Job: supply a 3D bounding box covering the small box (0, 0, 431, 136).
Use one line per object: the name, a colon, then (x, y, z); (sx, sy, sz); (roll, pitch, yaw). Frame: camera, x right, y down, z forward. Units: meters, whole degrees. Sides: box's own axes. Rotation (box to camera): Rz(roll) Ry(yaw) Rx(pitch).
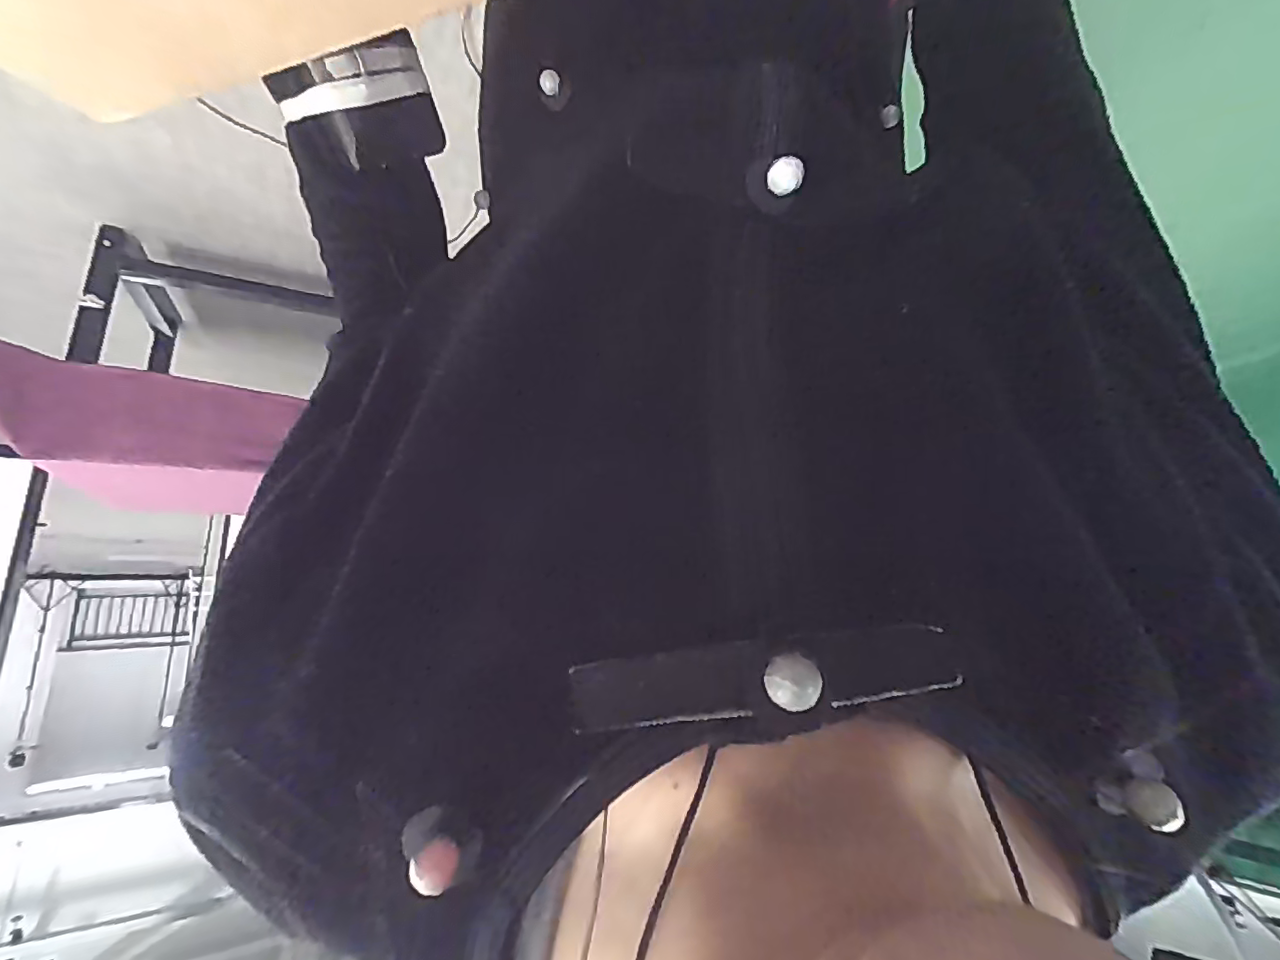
small box: (-0.136, -0.212, 0.098); (0.176, 0.179, 0.168); (-1, 179, 17)
